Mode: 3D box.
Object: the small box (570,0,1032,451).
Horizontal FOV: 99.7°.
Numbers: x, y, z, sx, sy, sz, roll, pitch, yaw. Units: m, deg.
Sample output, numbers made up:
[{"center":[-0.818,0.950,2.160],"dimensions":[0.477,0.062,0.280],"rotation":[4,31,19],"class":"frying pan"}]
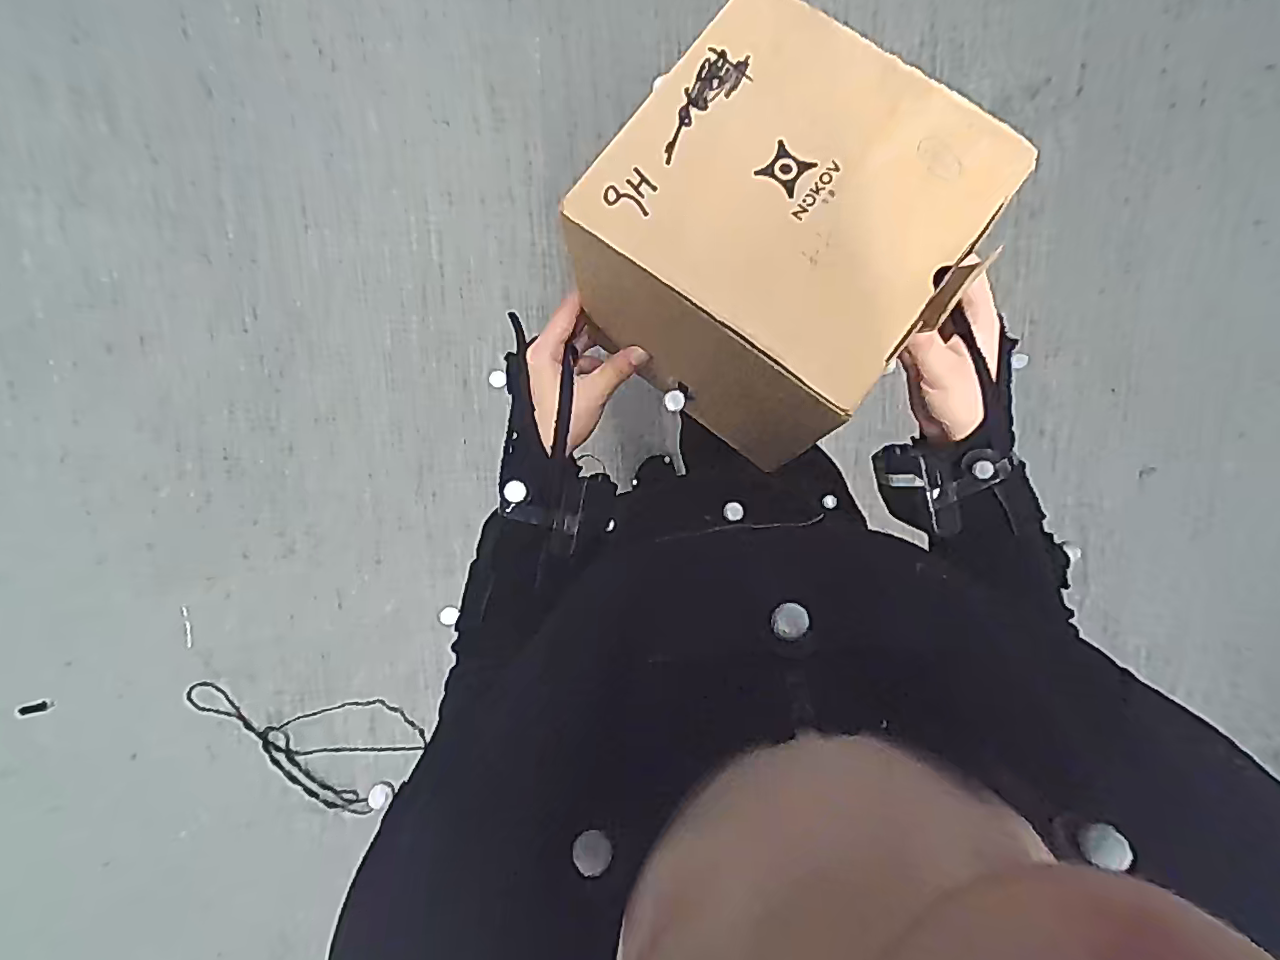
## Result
[{"center":[0.081,-0.134,0.348],"dimensions":[0.179,0.176,0.168],"rotation":[38,84,4],"class":"small box"}]
